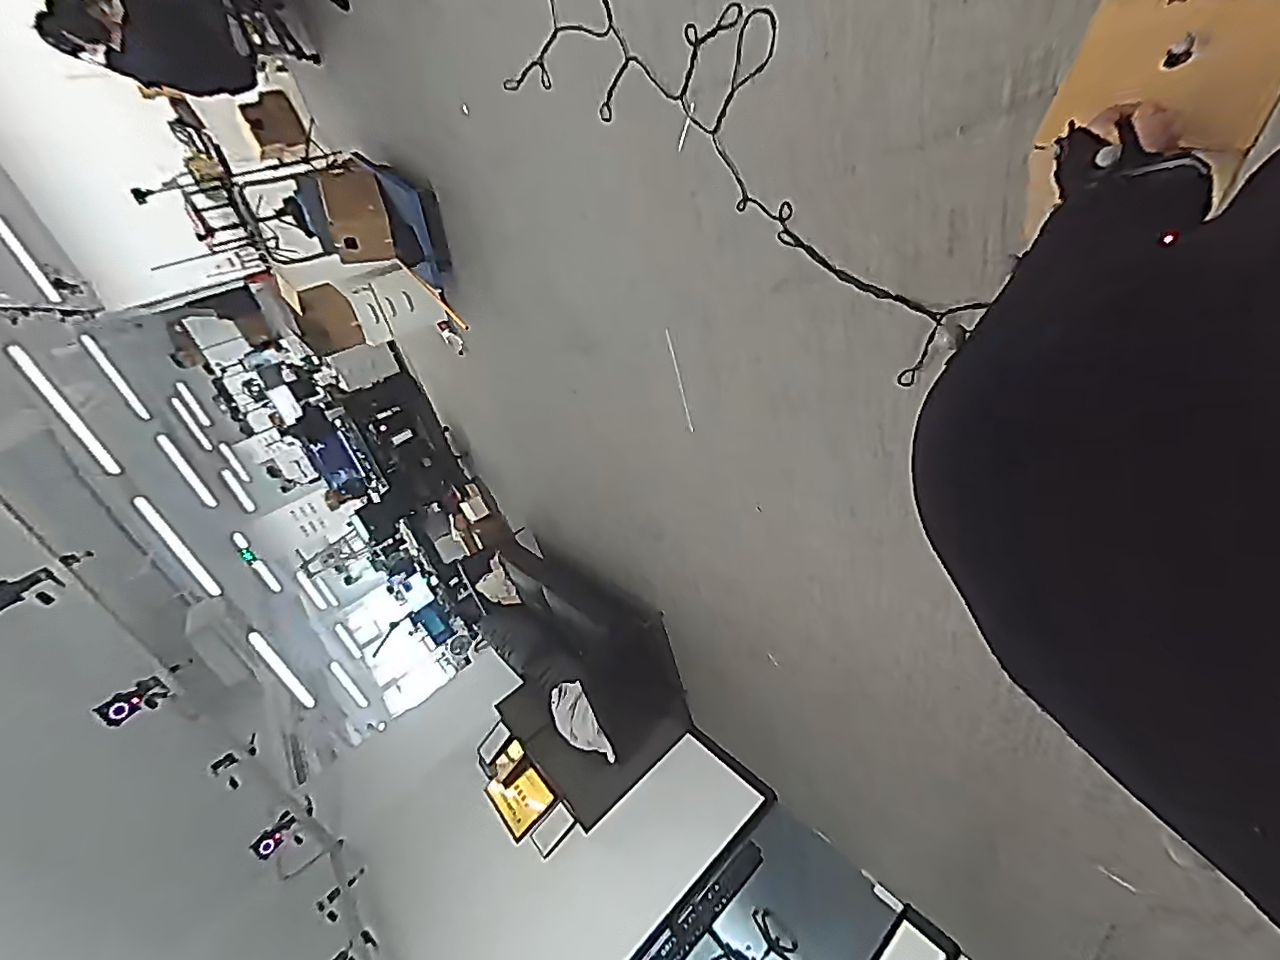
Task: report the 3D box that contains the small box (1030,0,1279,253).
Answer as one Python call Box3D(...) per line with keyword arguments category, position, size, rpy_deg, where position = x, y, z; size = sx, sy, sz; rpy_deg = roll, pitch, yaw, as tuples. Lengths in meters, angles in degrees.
Box3D(category="small box", position=(0.543, -0.370, 0.569), size=(0.168, 0.176, 0.179), rpy_deg=(26, -175, 35))
